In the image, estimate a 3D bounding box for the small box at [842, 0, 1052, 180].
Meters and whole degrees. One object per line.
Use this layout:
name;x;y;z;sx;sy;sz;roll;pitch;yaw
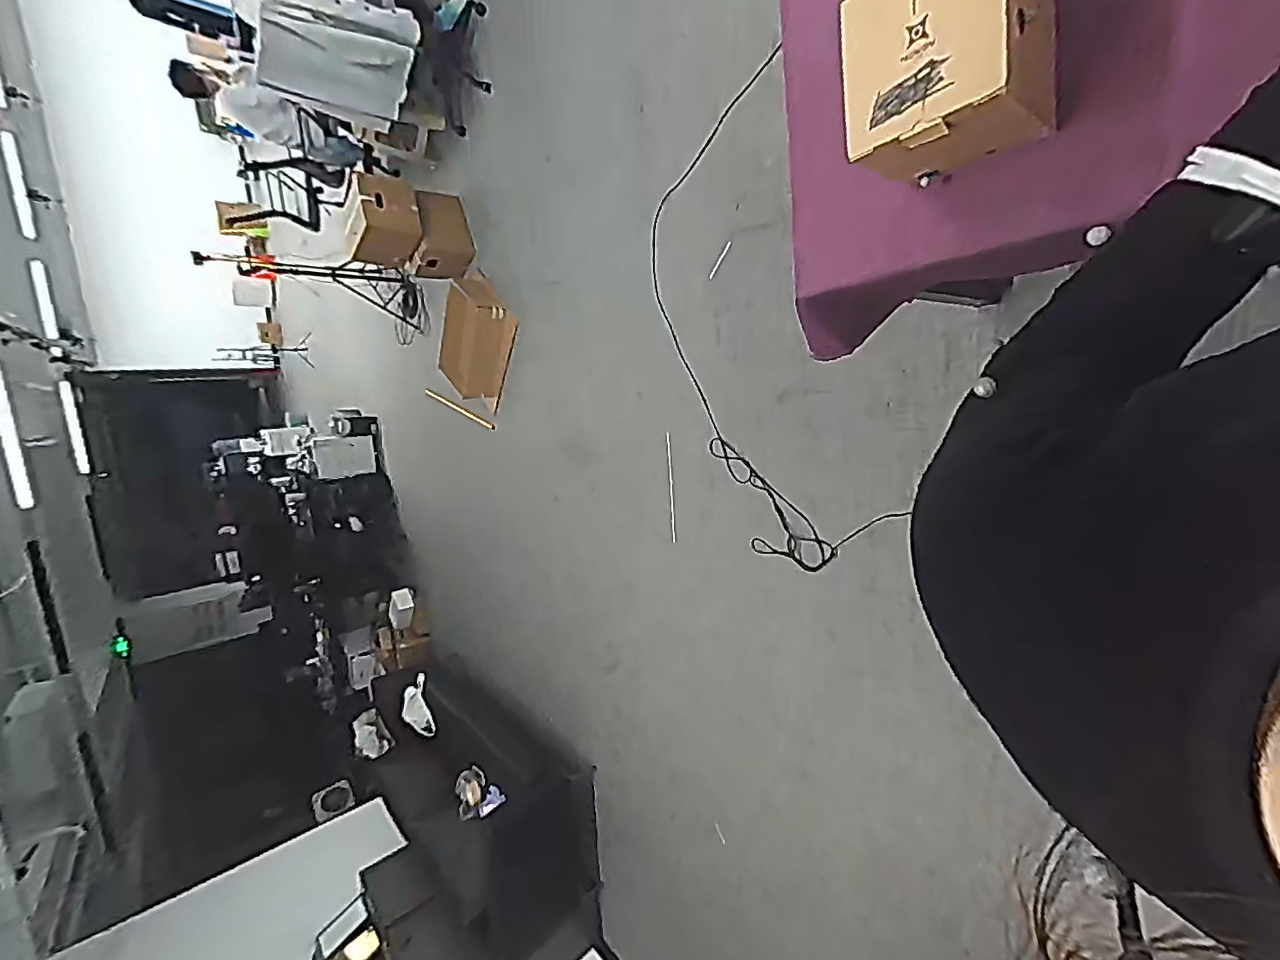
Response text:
small box;0.356;-0.472;0.626;0.168;0.176;0.179;2;99;50
